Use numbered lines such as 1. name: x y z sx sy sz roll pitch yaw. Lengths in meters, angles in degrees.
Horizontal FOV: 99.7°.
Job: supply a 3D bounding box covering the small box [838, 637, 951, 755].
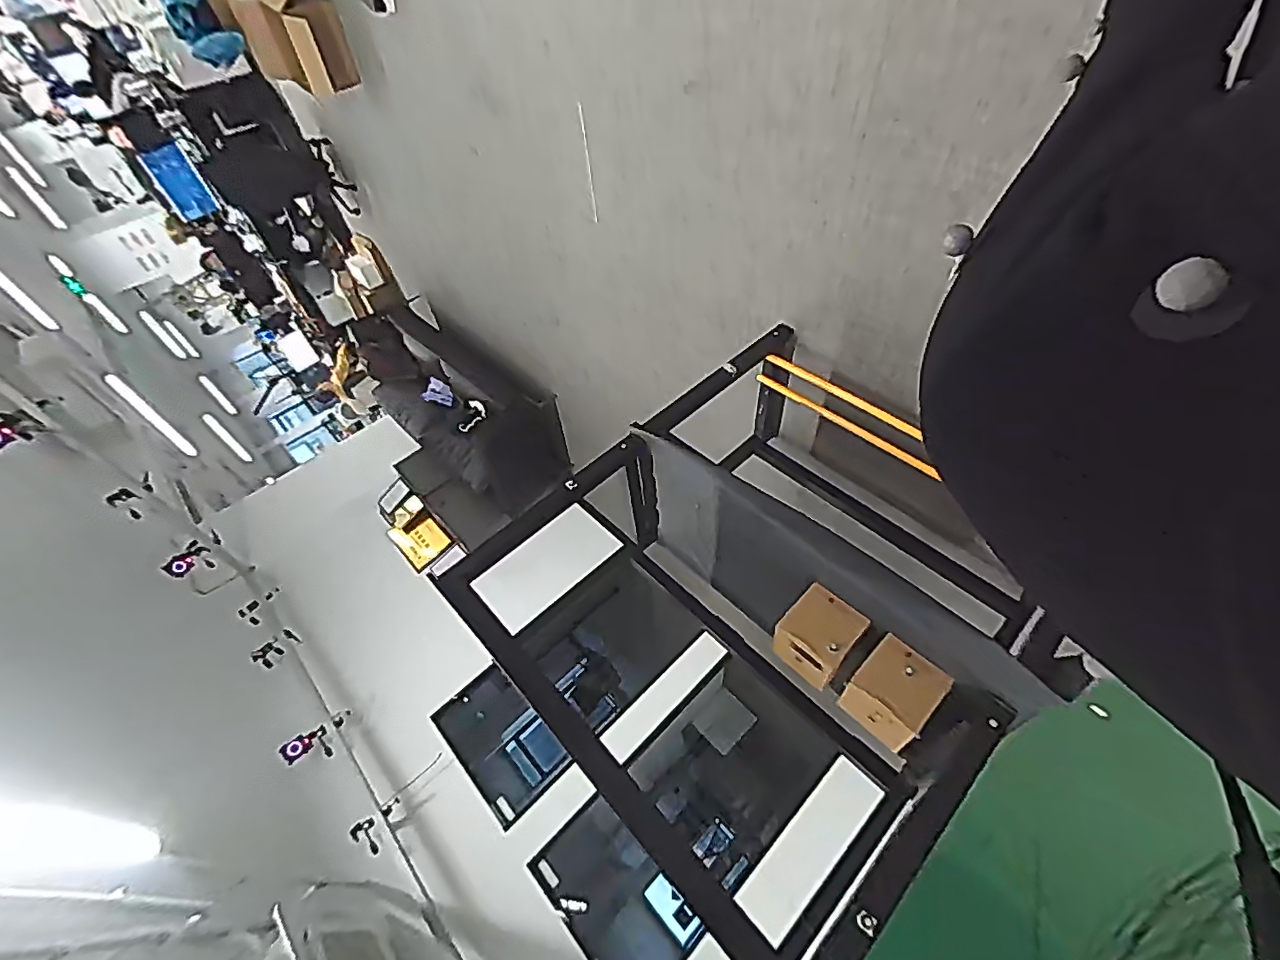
1. small box: 0.608 0.515 1.296 0.168 0.176 0.179 37 153 31
